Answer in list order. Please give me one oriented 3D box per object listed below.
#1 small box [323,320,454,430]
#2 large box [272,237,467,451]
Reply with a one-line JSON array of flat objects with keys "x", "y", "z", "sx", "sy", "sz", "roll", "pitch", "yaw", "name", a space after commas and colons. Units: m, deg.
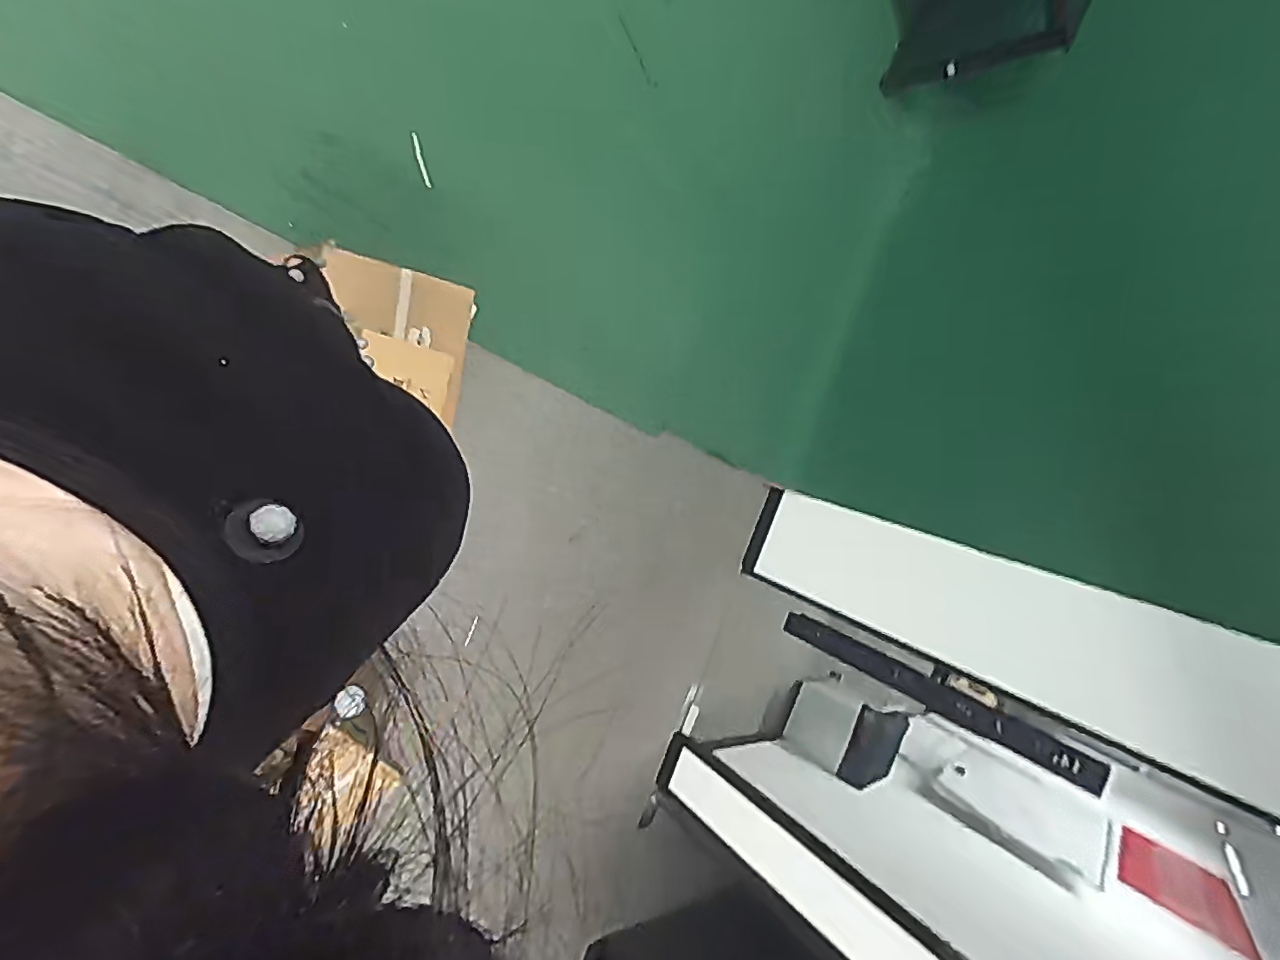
[{"x": -0.501, "y": -0.209, "z": 1.067, "sx": 0.179, "sy": 0.176, "sz": 0.168, "roll": 11, "pitch": 99, "yaw": -45, "name": "small box"}, {"x": -0.638, "y": -0.299, "z": 1.257, "sx": 0.320, "sy": 0.320, "sz": 0.408, "roll": 3, "pitch": 102, "yaw": -45, "name": "large box"}]
